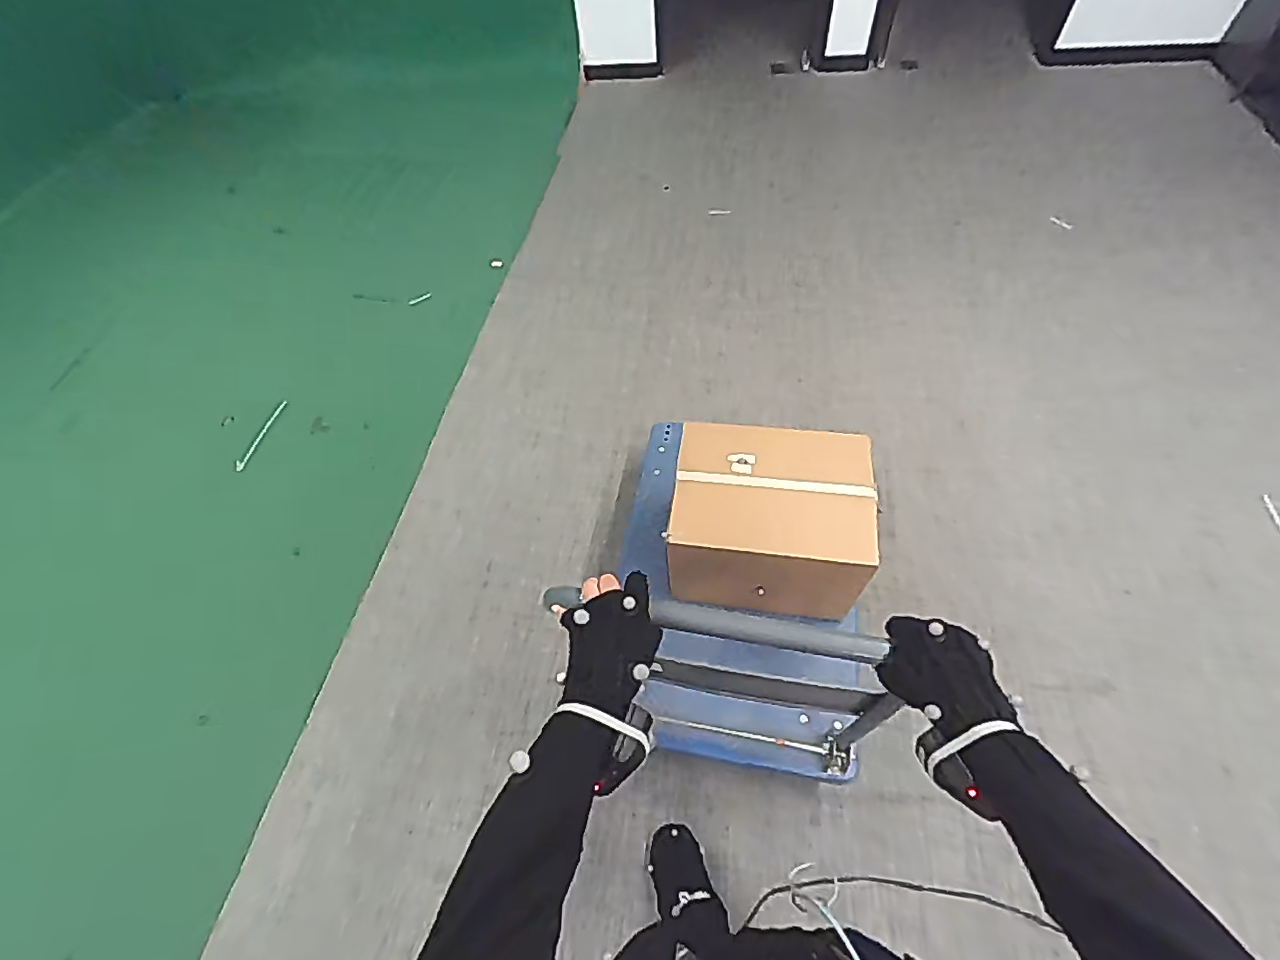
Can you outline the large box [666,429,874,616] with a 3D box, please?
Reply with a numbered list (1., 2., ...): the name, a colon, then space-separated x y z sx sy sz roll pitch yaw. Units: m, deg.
1. large box: 0.288 0.103 1.253 0.408 0.320 0.320 5 57 11
